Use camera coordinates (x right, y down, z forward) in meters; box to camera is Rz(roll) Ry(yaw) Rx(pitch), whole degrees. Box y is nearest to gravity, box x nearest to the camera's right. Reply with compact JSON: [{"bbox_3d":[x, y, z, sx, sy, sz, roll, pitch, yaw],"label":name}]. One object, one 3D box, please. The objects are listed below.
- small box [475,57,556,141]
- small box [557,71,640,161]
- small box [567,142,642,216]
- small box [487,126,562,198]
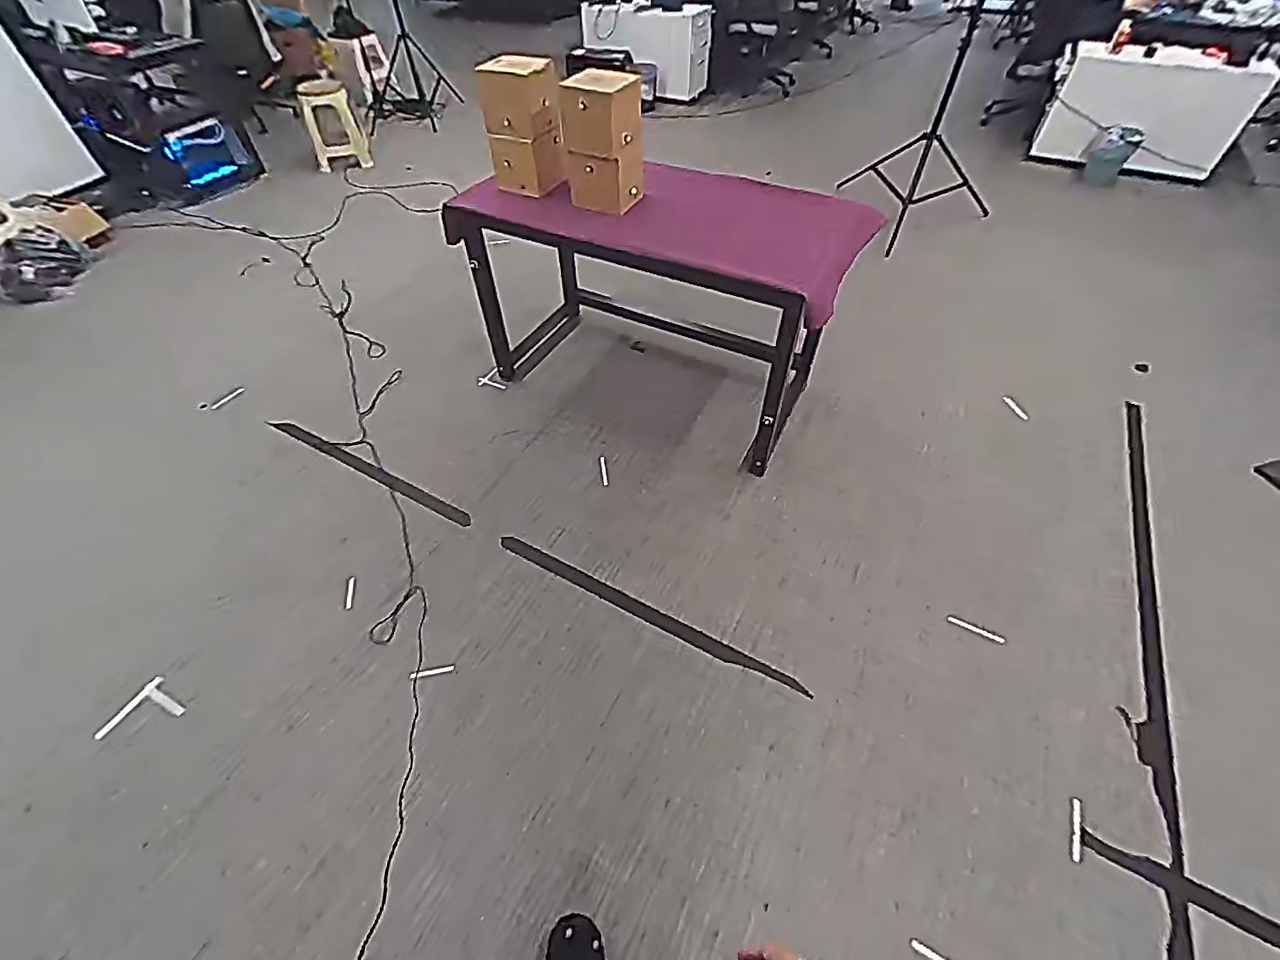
[{"bbox_3d":[-0.371,-1.162,1.654,0.179,0.176,0.168,18,52,14],"label":"small box"},{"bbox_3d":[-0.114,-1.044,1.554,0.179,0.176,0.168,23,55,17],"label":"small box"},{"bbox_3d":[-0.105,-0.949,1.684,0.179,0.176,0.168,21,53,16],"label":"small box"},{"bbox_3d":[-0.368,-1.049,1.773,0.168,0.176,0.179,19,52,16],"label":"small box"}]
